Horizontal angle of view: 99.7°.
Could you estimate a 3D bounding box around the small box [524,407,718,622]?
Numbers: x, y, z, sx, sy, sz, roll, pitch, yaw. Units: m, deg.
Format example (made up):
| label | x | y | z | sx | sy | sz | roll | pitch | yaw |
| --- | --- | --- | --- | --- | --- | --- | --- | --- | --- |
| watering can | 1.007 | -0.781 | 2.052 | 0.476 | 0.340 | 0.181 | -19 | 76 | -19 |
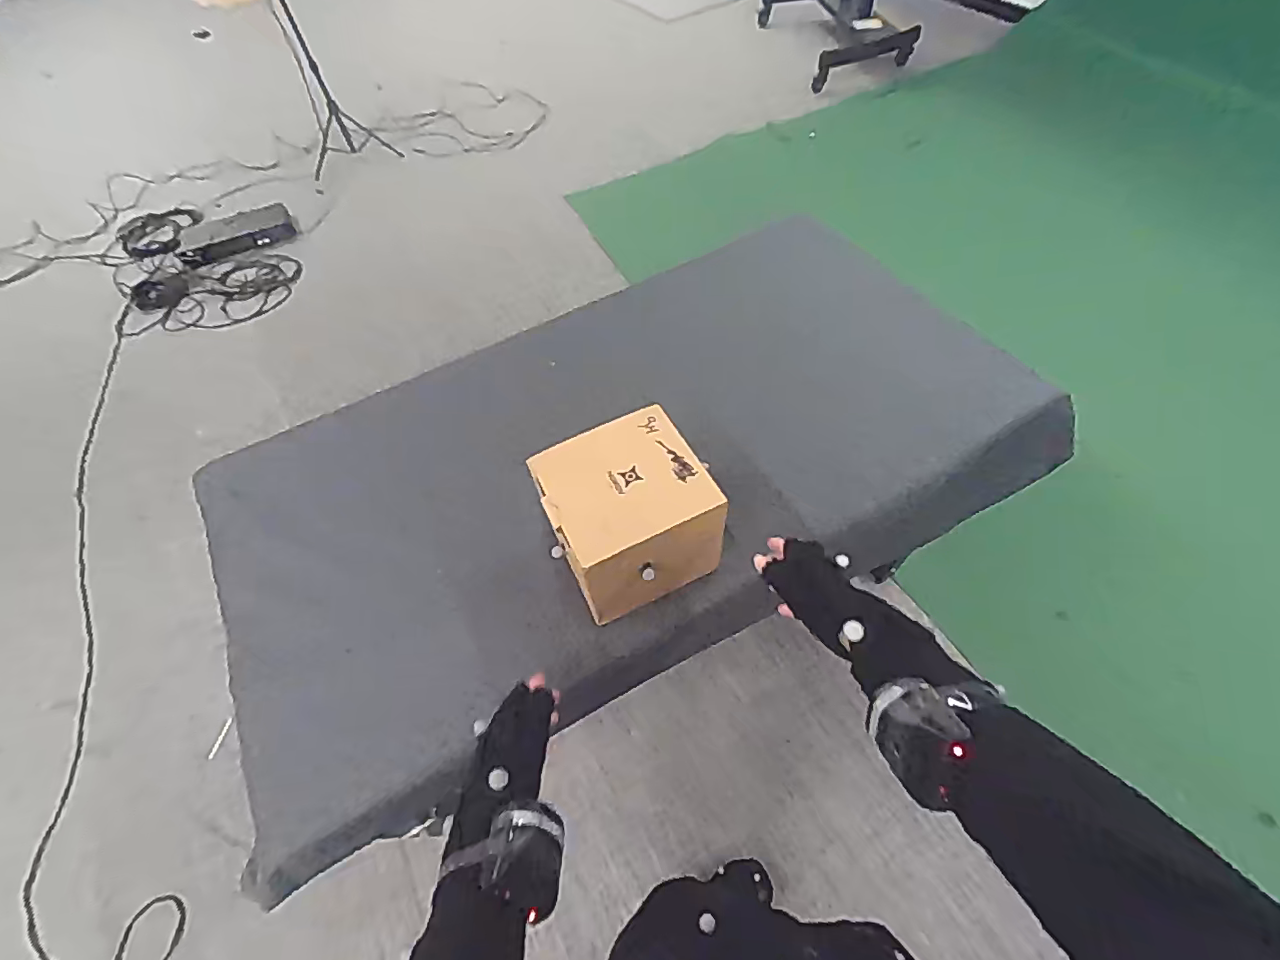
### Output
| label | x | y | z | sx | sy | sz | roll | pitch | yaw |
| --- | --- | --- | --- | --- | --- | --- | --- | --- | --- |
| small box | -0.017 | 0.048 | 0.668 | 0.179 | 0.176 | 0.168 | -25 | 57 | -11 |
